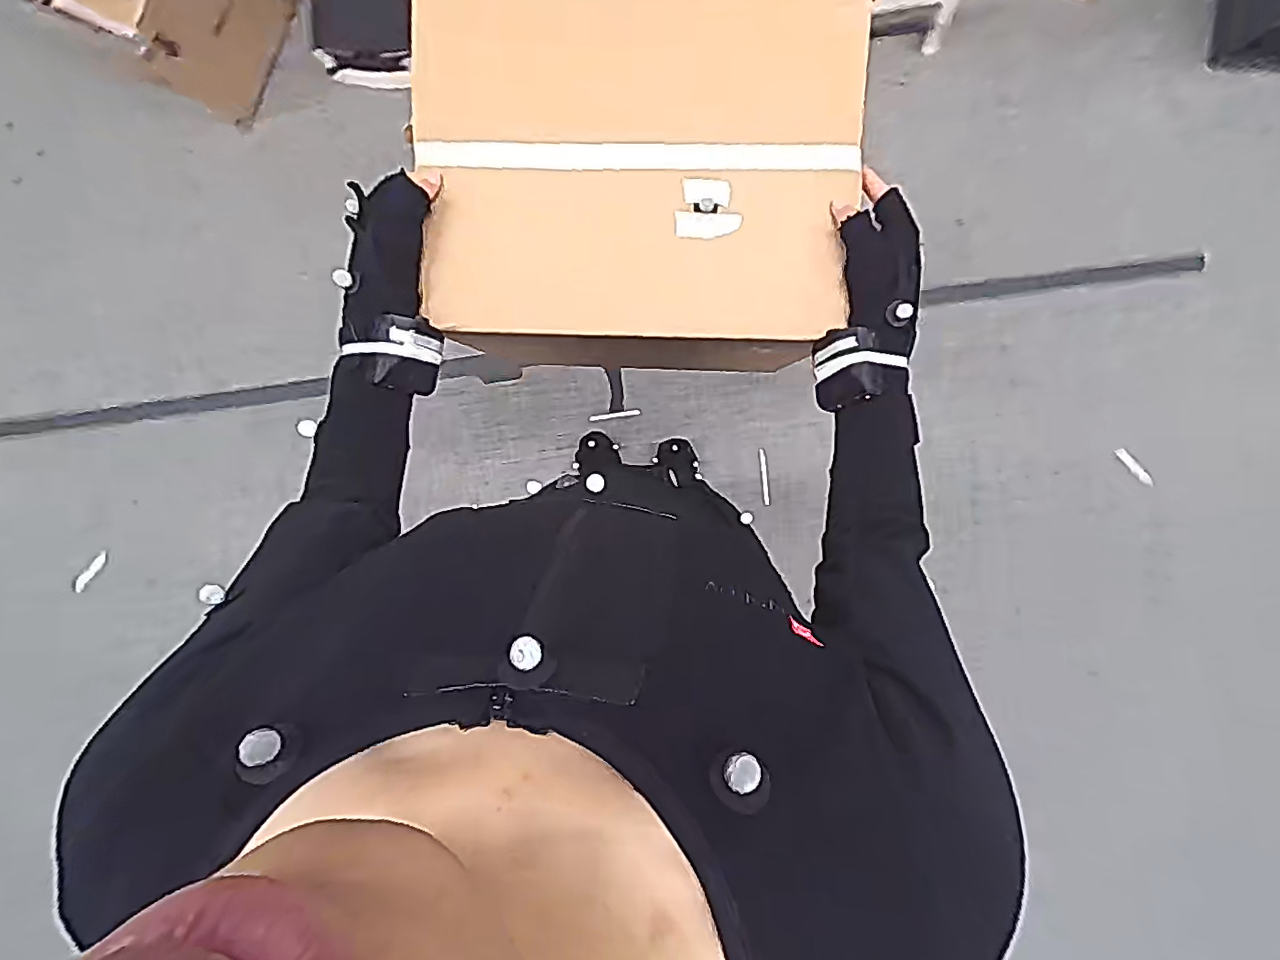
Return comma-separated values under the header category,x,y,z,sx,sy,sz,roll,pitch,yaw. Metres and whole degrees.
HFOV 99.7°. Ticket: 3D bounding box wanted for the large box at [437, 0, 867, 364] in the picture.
category,x,y,z,sx,sy,sz,roll,pitch,yaw
large box,0.007,-0.316,0.659,0.408,0.320,0.320,3,97,1
